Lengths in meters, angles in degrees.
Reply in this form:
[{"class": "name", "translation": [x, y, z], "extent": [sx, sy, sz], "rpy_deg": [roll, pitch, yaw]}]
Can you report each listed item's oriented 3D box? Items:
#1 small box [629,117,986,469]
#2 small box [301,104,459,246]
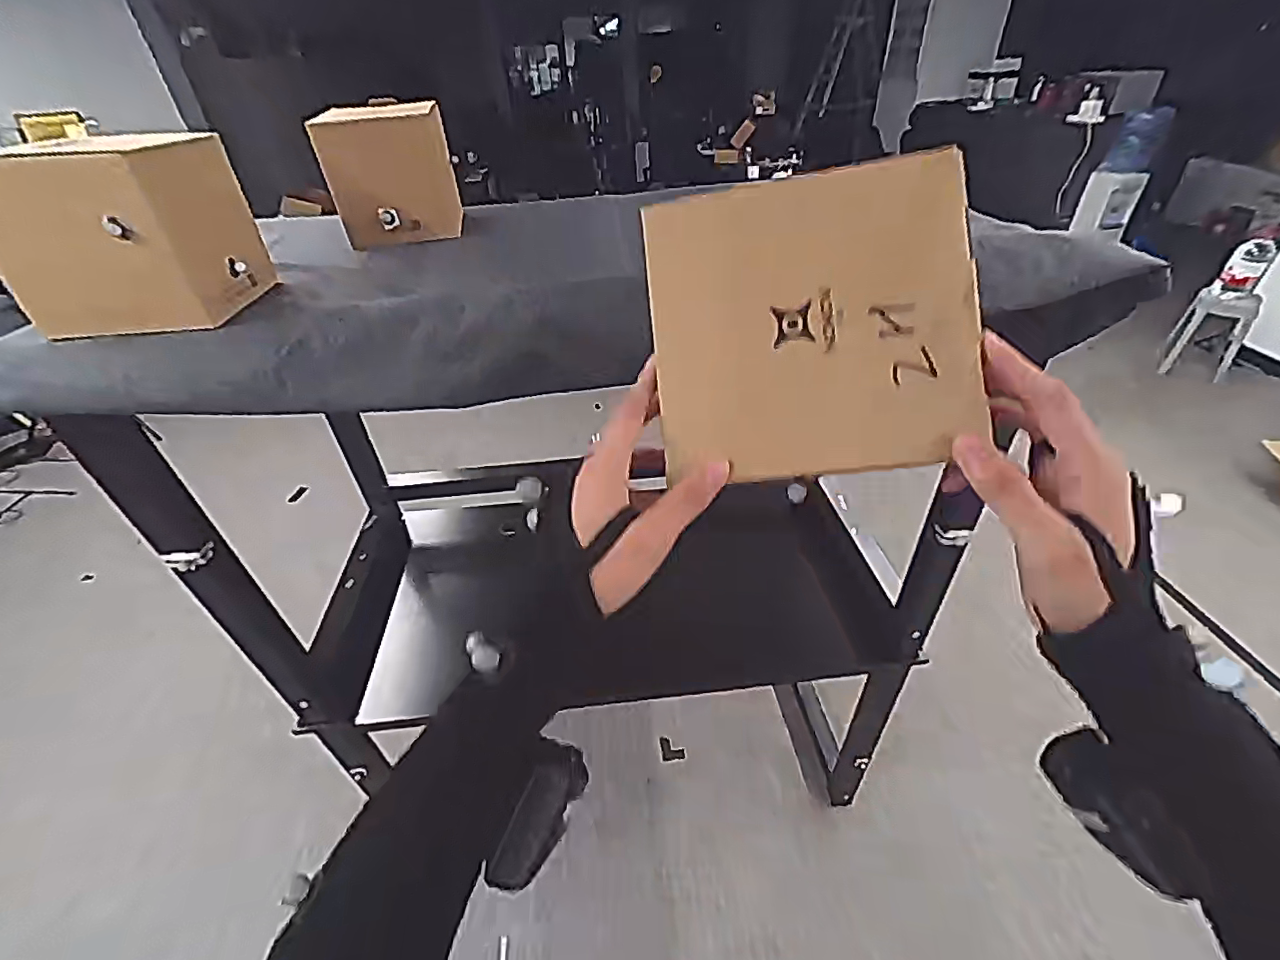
[{"class": "small box", "translation": [0.099, -0.098, 0.371], "extent": [0.179, 0.168, 0.176], "rpy_deg": [-6, -2, 10]}, {"class": "small box", "translation": [-0.390, -0.479, 0.848], "extent": [0.168, 0.176, 0.179], "rpy_deg": [-11, 38, -8]}]
